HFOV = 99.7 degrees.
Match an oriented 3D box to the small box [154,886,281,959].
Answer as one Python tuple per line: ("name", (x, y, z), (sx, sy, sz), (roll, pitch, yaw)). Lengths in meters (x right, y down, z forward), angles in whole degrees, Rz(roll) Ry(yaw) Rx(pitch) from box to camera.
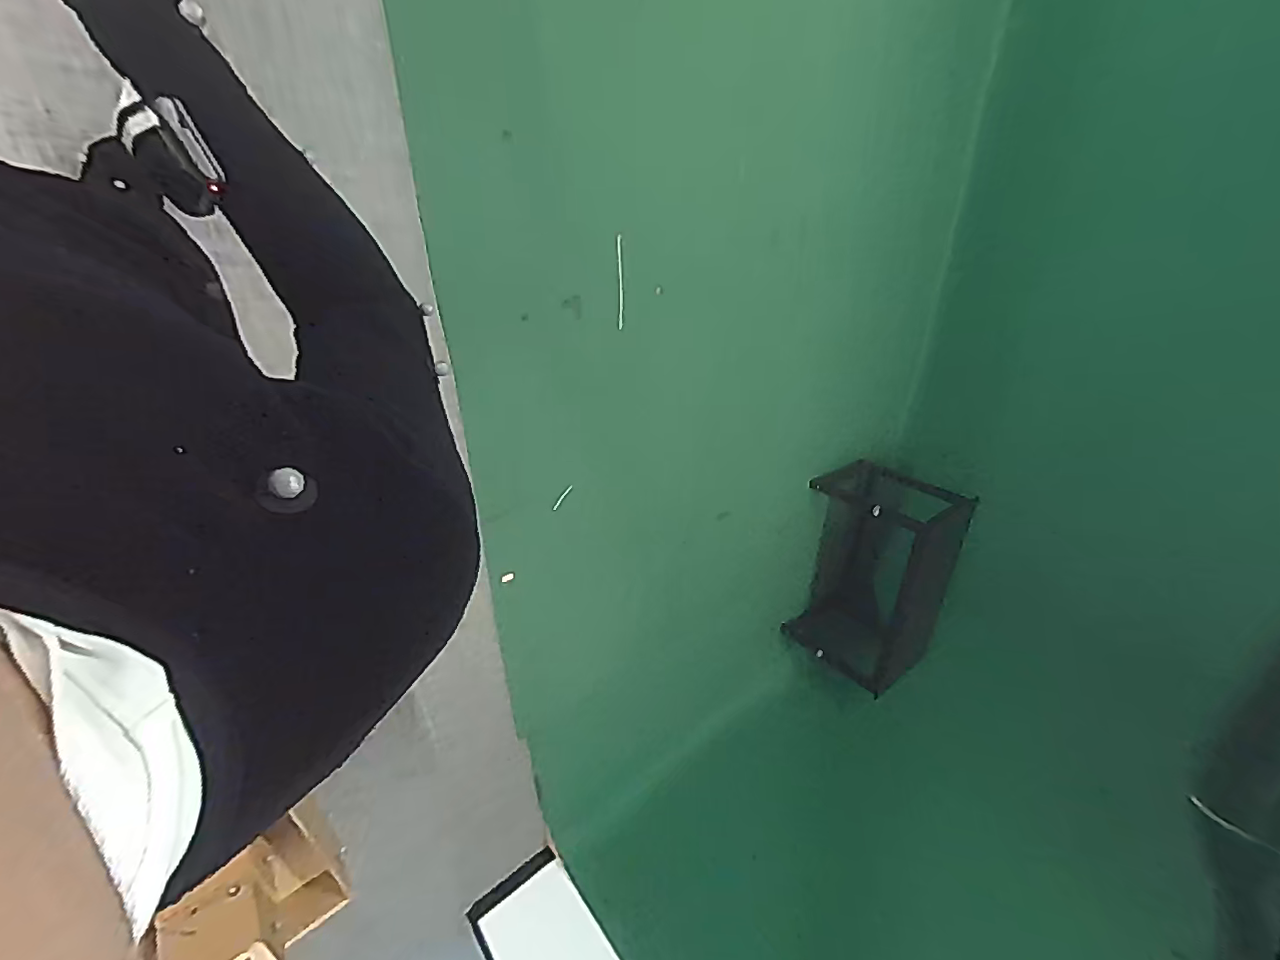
("small box", (-0.870, 0.997, 1.120), (0.168, 0.176, 0.179), (-22, 127, -33))

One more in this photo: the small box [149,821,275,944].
("small box", (-0.973, 0.930, 1.229), (0.179, 0.176, 0.168), (-25, 128, -32))
